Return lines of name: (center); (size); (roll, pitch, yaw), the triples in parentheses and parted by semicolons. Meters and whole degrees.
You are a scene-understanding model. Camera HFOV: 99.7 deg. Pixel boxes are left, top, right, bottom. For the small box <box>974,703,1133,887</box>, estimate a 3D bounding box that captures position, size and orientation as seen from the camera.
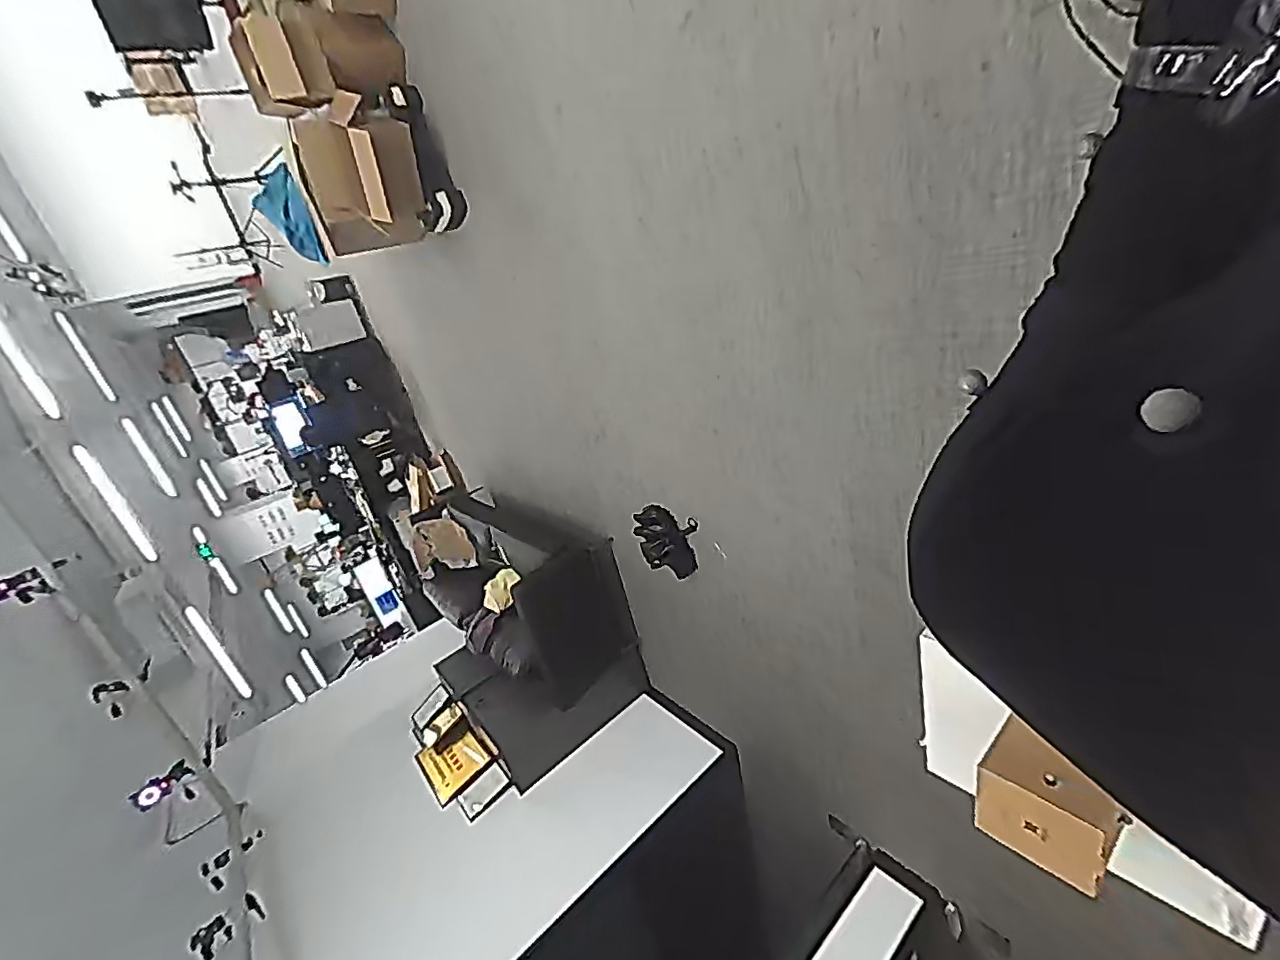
small box: (0.701, 0.520, 0.921); (0.179, 0.176, 0.168); (17, 128, 51)
